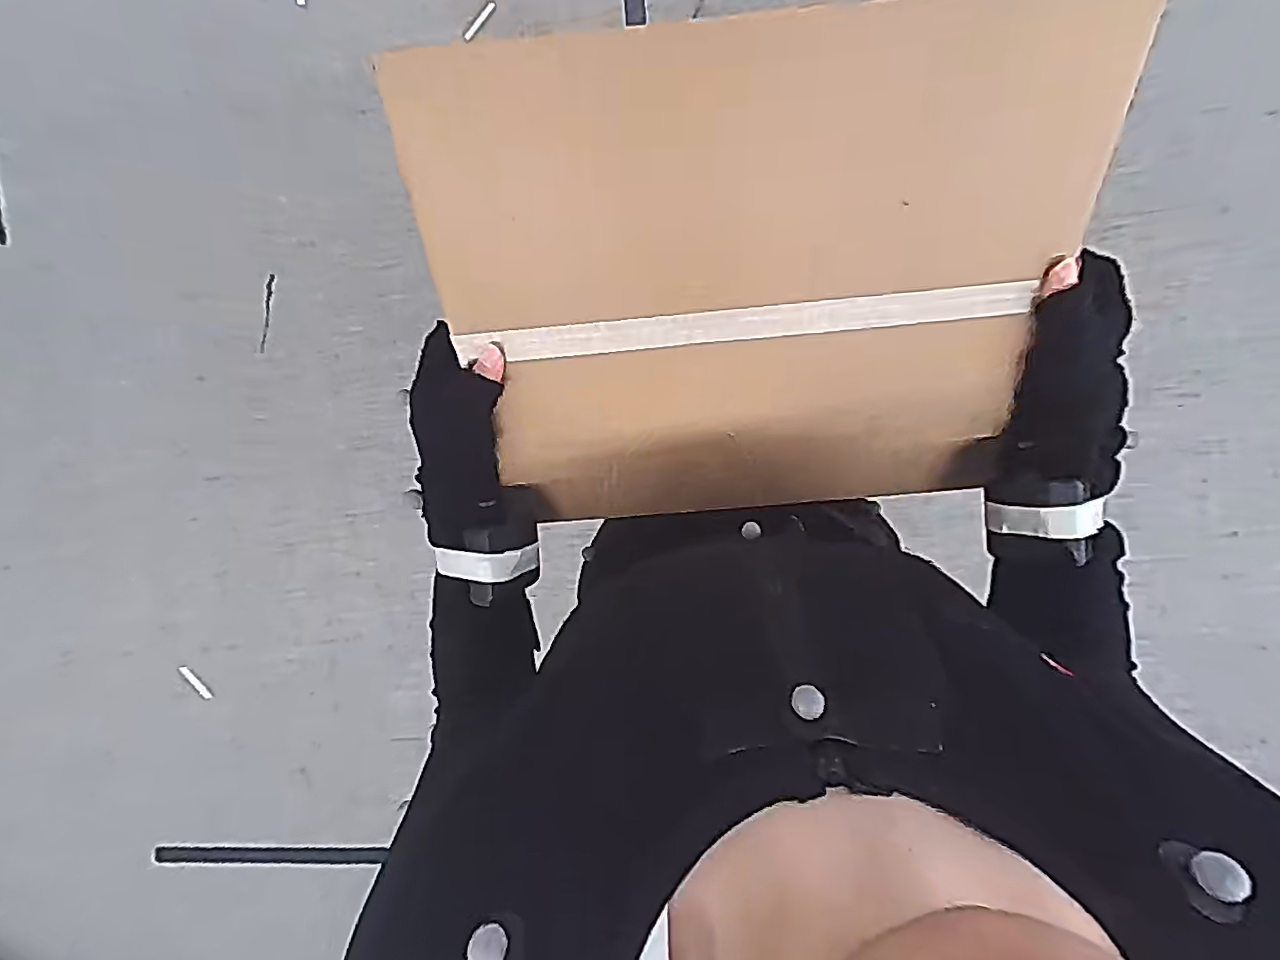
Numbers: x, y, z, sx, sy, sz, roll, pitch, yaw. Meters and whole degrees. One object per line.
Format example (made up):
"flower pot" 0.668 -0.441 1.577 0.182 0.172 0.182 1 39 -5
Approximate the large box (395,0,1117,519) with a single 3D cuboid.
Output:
"large box" 0.070 -0.195 0.500 0.408 0.320 0.320 -5 124 2
